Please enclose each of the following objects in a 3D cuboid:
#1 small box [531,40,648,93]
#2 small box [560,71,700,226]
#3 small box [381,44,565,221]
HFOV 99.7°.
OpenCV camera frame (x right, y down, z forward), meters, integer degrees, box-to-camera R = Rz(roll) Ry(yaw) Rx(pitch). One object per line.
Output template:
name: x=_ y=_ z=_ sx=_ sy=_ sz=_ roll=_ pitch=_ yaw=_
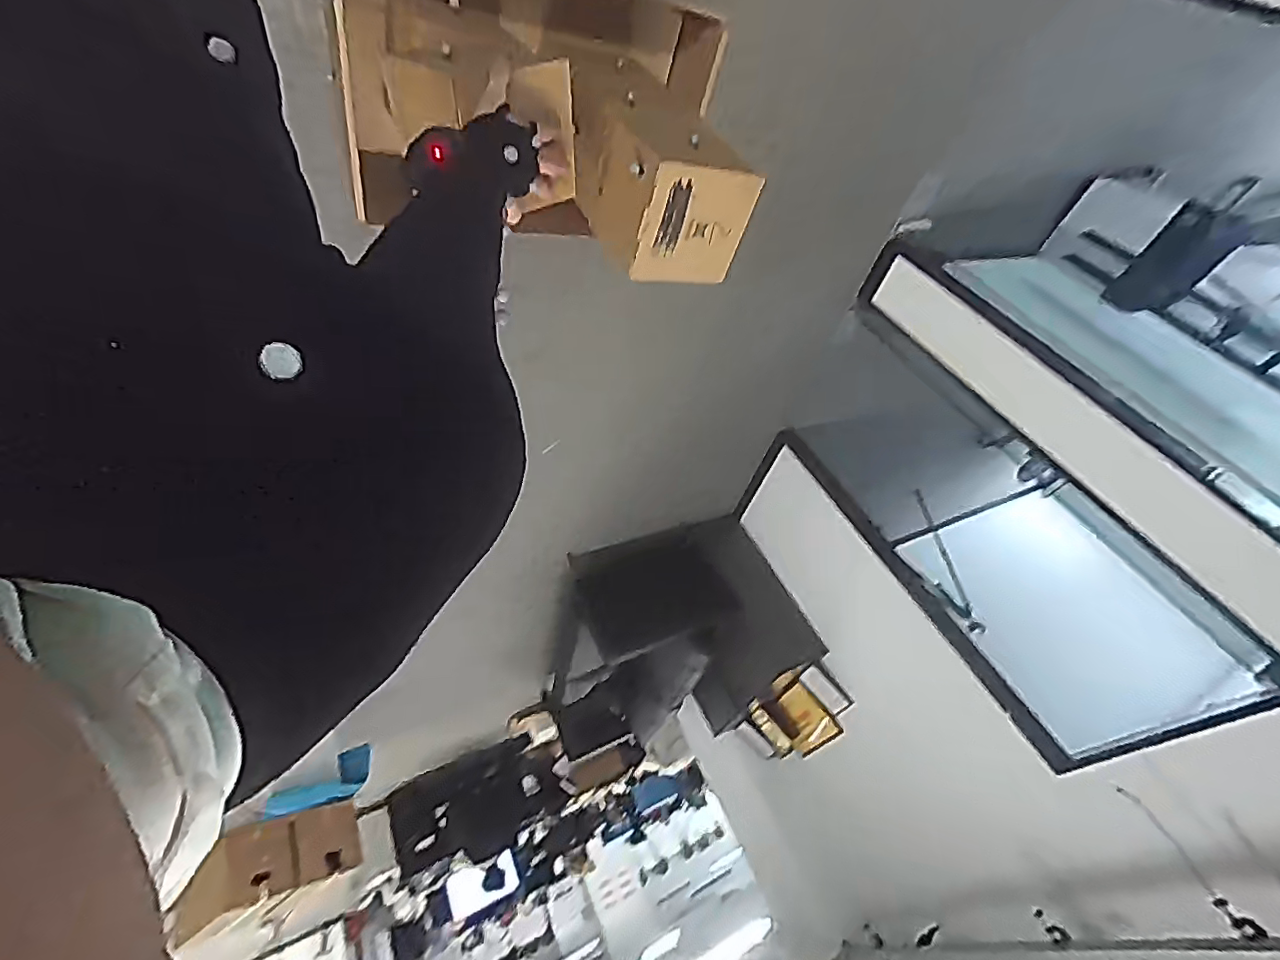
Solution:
small box: x=-0.100 y=-0.672 z=0.994 sx=0.179 sy=0.176 sz=0.168 roll=-10 pitch=143 yaw=-28
small box: x=-0.033 y=-0.552 z=0.908 sx=0.179 sy=0.176 sz=0.168 roll=-10 pitch=144 yaw=-27
small box: x=-0.226 y=-0.479 z=0.740 sx=0.179 sy=0.176 sz=0.168 roll=-36 pitch=147 yaw=-32
